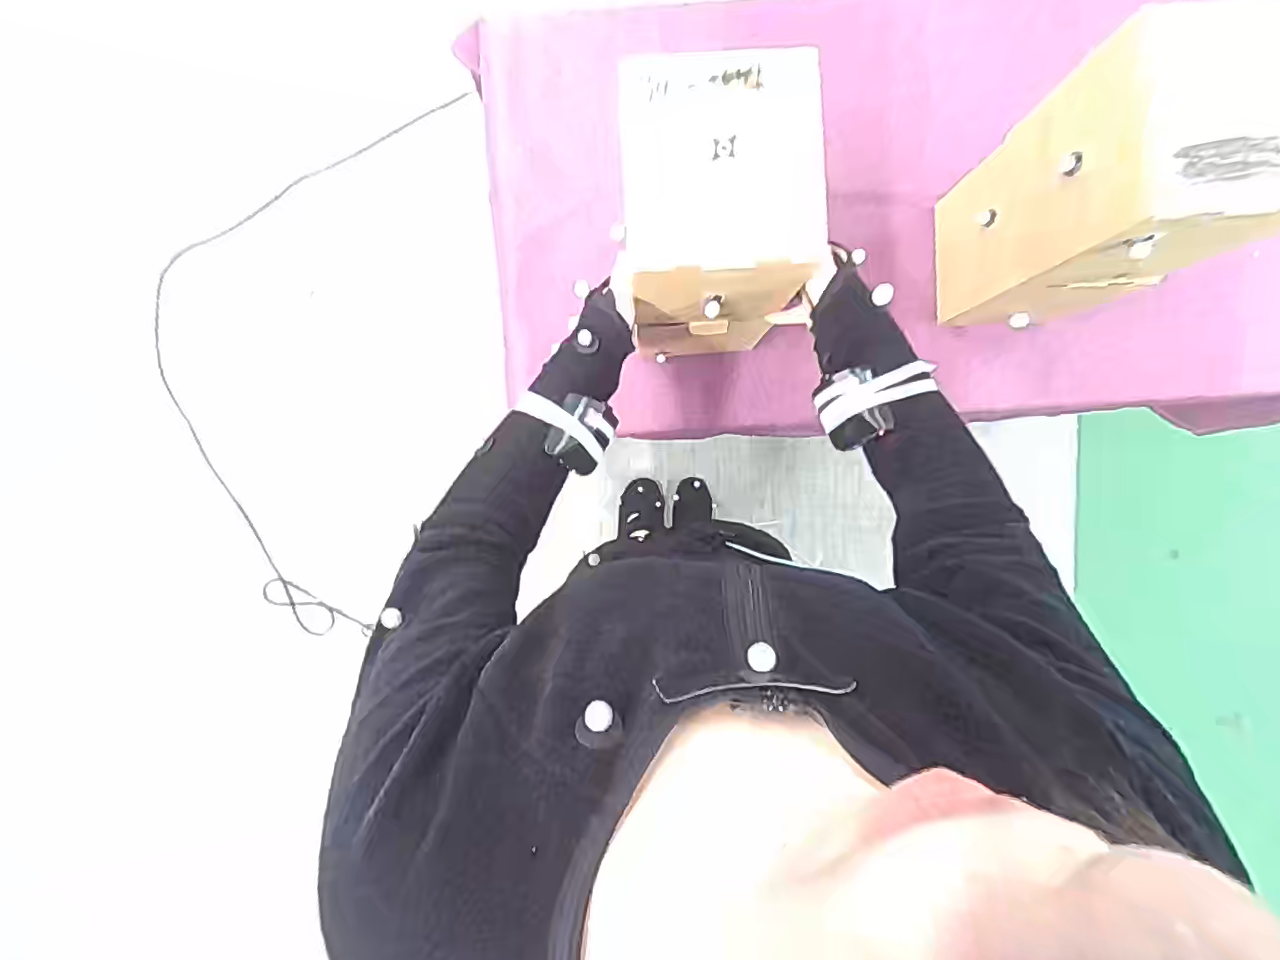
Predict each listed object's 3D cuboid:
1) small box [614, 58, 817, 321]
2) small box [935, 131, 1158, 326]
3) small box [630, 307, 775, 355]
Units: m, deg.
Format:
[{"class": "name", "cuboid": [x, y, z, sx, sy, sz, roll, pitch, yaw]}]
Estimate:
[{"class": "small box", "cuboid": [0.065, -0.260, 0.528, 0.168, 0.176, 0.179, -3, 92, 0]}, {"class": "small box", "cuboid": [0.499, -0.306, 0.688, 0.168, 0.176, 0.179, -1, 91, 1]}, {"class": "small box", "cuboid": [0.068, -0.262, 0.692, 0.168, 0.176, 0.179, -5, 90, 0]}]
